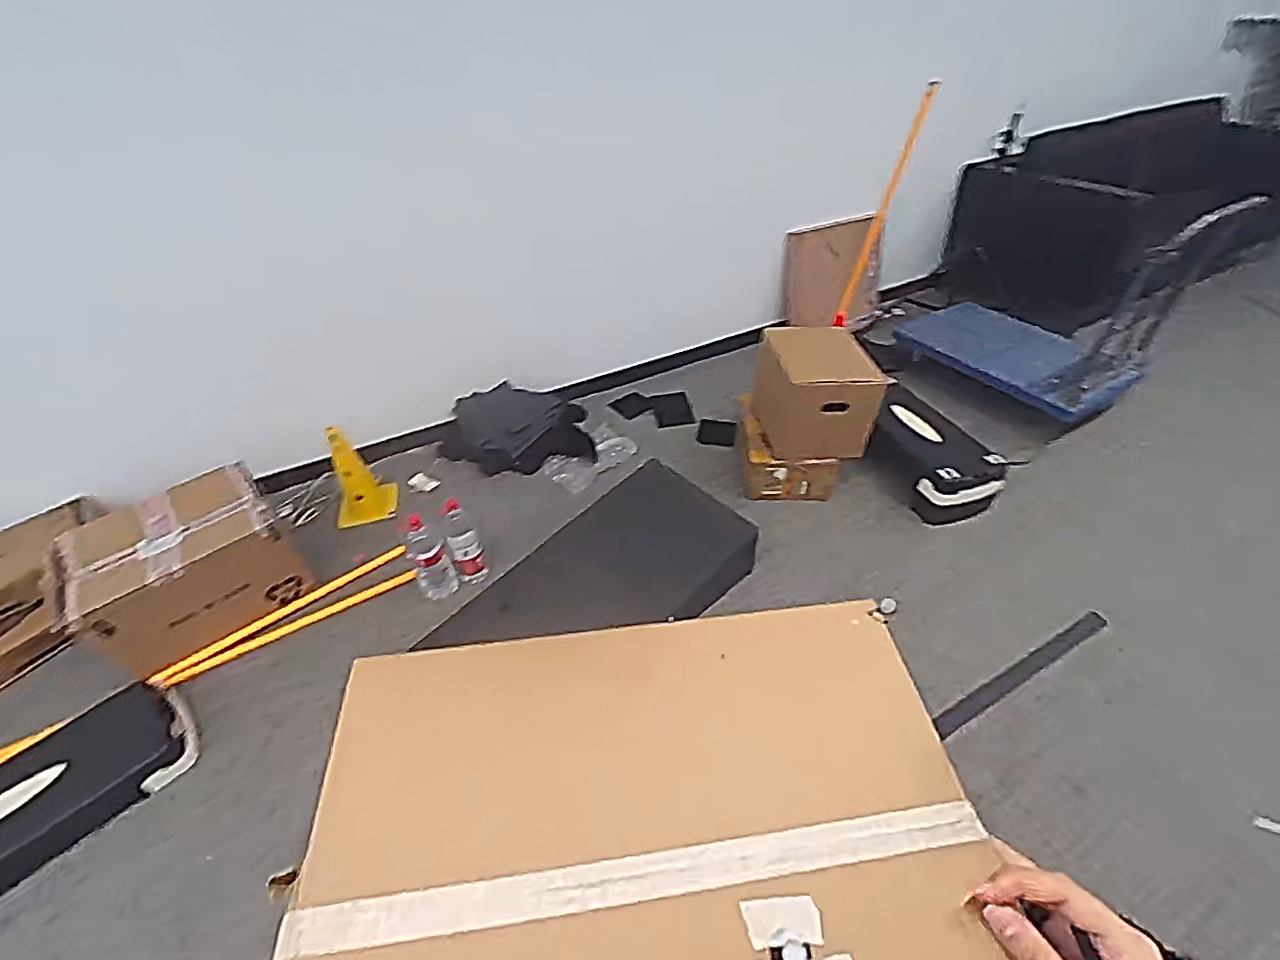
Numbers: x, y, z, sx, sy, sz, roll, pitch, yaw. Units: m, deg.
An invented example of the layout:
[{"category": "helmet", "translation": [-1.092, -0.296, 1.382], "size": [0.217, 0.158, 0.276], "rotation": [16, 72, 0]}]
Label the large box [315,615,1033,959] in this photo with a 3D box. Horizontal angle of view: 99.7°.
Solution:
[{"category": "large box", "translation": [0.011, 0.342, 0.432], "size": [0.408, 0.320, 0.320], "rotation": [-5, 49, -6]}]
